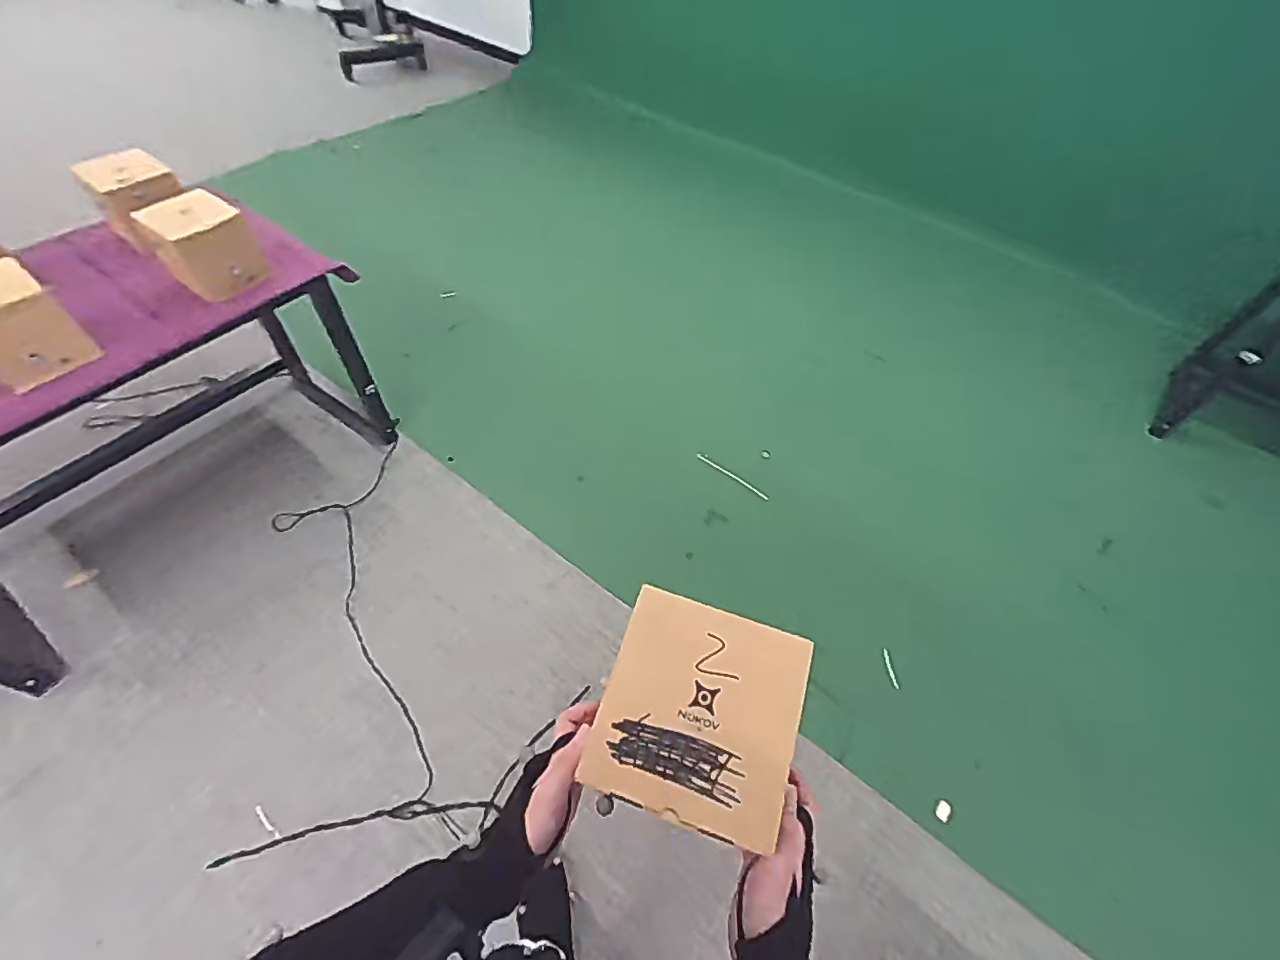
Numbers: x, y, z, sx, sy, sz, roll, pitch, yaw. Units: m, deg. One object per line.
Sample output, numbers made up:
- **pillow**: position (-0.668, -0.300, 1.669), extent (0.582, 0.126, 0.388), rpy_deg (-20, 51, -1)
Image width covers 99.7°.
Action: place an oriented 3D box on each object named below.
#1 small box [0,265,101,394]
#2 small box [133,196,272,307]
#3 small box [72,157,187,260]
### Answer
- **small box**: position (-1.292, -0.307, 1.116), extent (0.179, 0.176, 0.168), rpy_deg (33, 57, 20)
- **small box**: position (-1.054, -0.553, 1.317), extent (0.179, 0.176, 0.168), rpy_deg (32, 58, 17)
- **small box**: position (-1.302, -0.709, 1.418), extent (0.179, 0.176, 0.168), rpy_deg (33, 58, 19)
